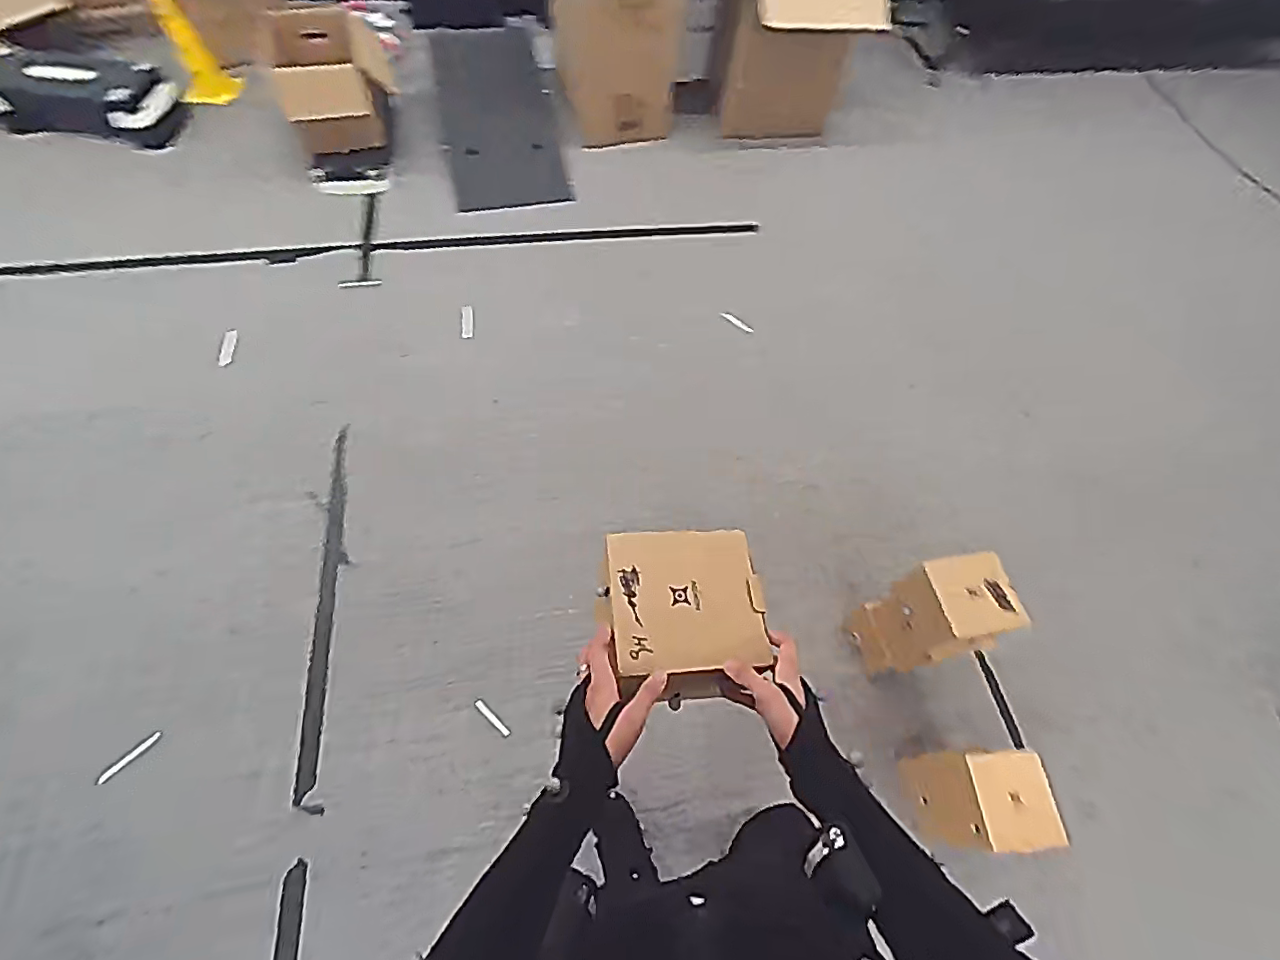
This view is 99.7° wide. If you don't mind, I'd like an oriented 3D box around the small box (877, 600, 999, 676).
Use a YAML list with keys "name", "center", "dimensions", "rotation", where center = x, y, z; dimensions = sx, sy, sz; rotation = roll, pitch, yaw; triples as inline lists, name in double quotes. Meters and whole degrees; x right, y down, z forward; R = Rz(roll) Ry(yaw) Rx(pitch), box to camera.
- name: "small box"
  center: [0.722, 0.370, 1.336]
  dimensions: [0.168, 0.176, 0.179]
  rotation: [-11, 64, -9]

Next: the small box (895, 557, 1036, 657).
- name: "small box"
  center: [0.706, 0.284, 1.195]
  dimensions: [0.179, 0.176, 0.168]
  rotation: [-7, 62, -7]

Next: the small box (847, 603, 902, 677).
- name: "small box"
  center: [0.707, 0.433, 1.487]
  dimensions: [0.179, 0.176, 0.168]
  rotation: [-10, 64, -8]

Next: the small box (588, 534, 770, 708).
- name: "small box"
  center: [0.034, 0.178, 0.673]
  dimensions: [0.179, 0.176, 0.168]
  rotation: [-1, 58, -12]

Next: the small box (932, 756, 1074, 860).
- name: "small box"
  center: [0.770, 0.701, 1.172]
  dimensions: [0.168, 0.176, 0.179]
  rotation: [-1, 64, -5]
